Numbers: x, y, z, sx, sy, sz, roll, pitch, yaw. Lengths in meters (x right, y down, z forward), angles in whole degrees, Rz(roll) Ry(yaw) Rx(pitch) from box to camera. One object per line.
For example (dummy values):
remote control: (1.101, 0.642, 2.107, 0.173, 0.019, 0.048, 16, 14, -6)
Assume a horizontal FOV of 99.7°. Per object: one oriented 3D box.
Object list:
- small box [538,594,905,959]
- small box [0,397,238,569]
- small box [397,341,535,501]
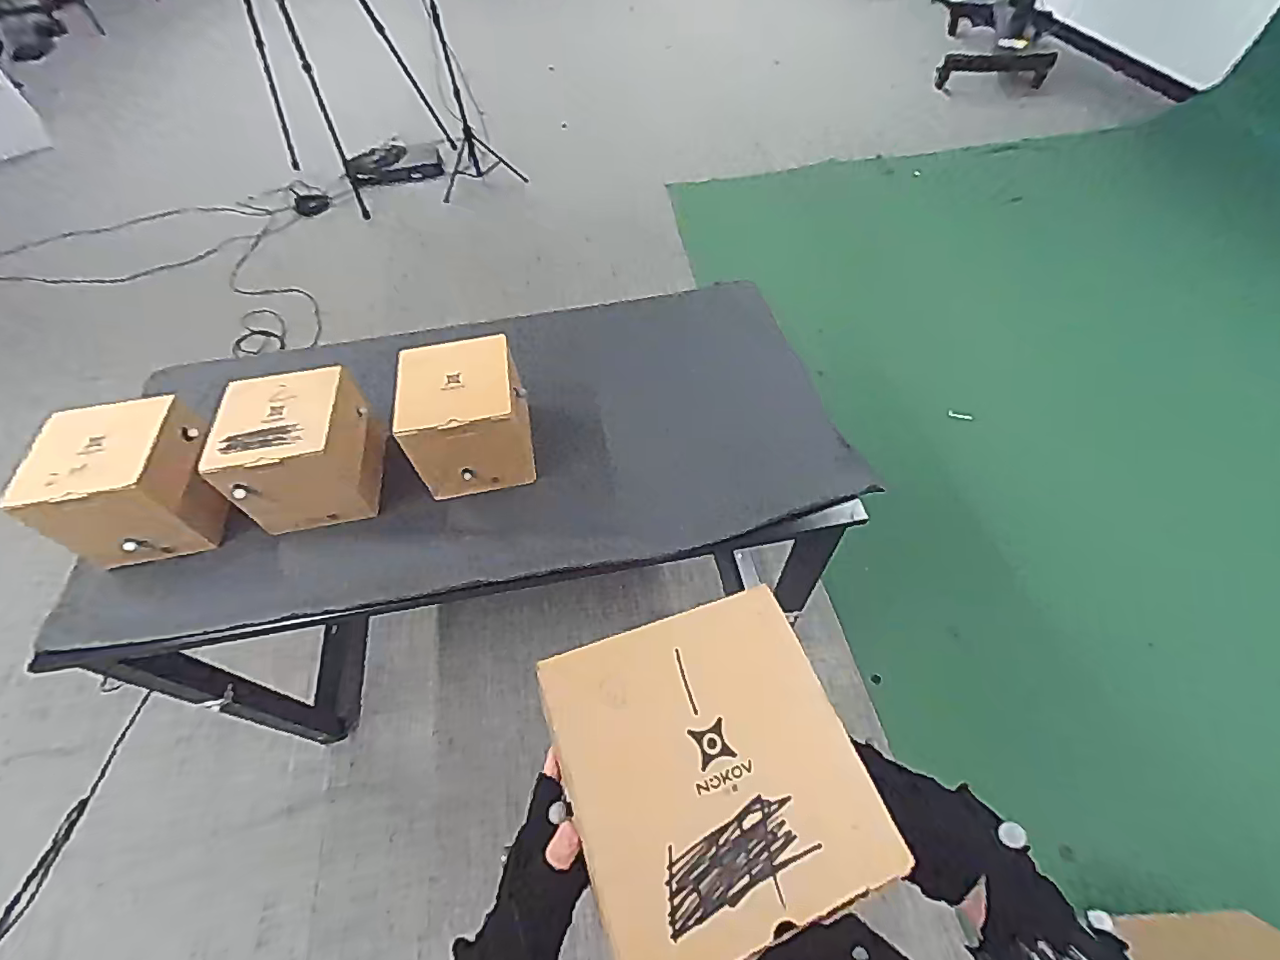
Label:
small box: (0.032, 0.208, 0.377, 0.168, 0.176, 0.179, -14, 60, -17)
small box: (-0.743, 0.006, 0.802, 0.168, 0.176, 0.179, -10, 54, -6)
small box: (-0.268, -0.092, 0.861, 0.168, 0.176, 0.179, -10, 56, -5)
